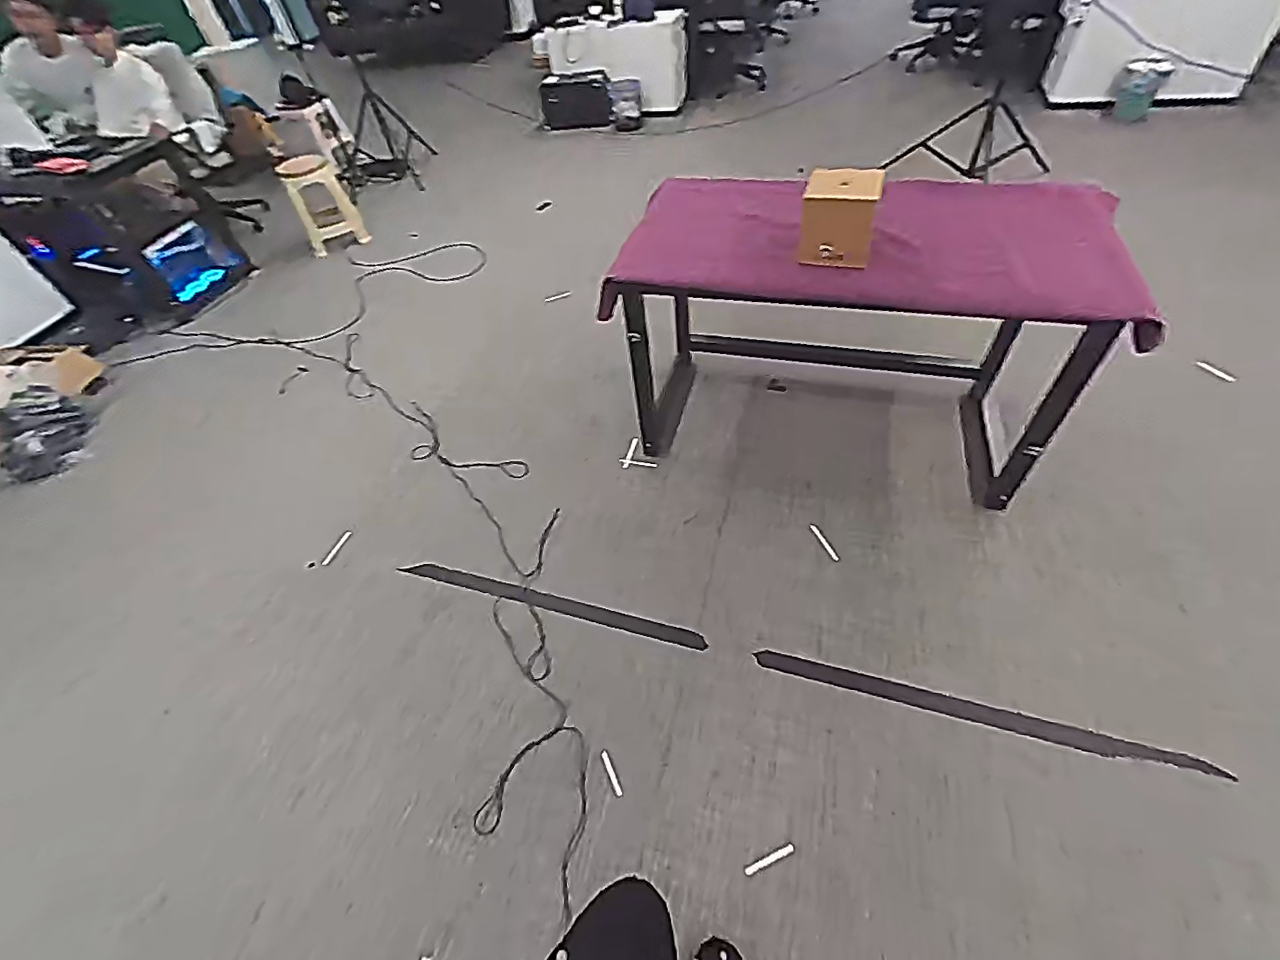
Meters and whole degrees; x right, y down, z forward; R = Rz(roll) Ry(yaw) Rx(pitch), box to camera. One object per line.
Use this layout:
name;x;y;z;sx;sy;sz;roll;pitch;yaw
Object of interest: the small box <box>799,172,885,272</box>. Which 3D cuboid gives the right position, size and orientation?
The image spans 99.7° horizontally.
small box;0.498;-0.642;1.344;0.168;0.176;0.179;11;52;18
